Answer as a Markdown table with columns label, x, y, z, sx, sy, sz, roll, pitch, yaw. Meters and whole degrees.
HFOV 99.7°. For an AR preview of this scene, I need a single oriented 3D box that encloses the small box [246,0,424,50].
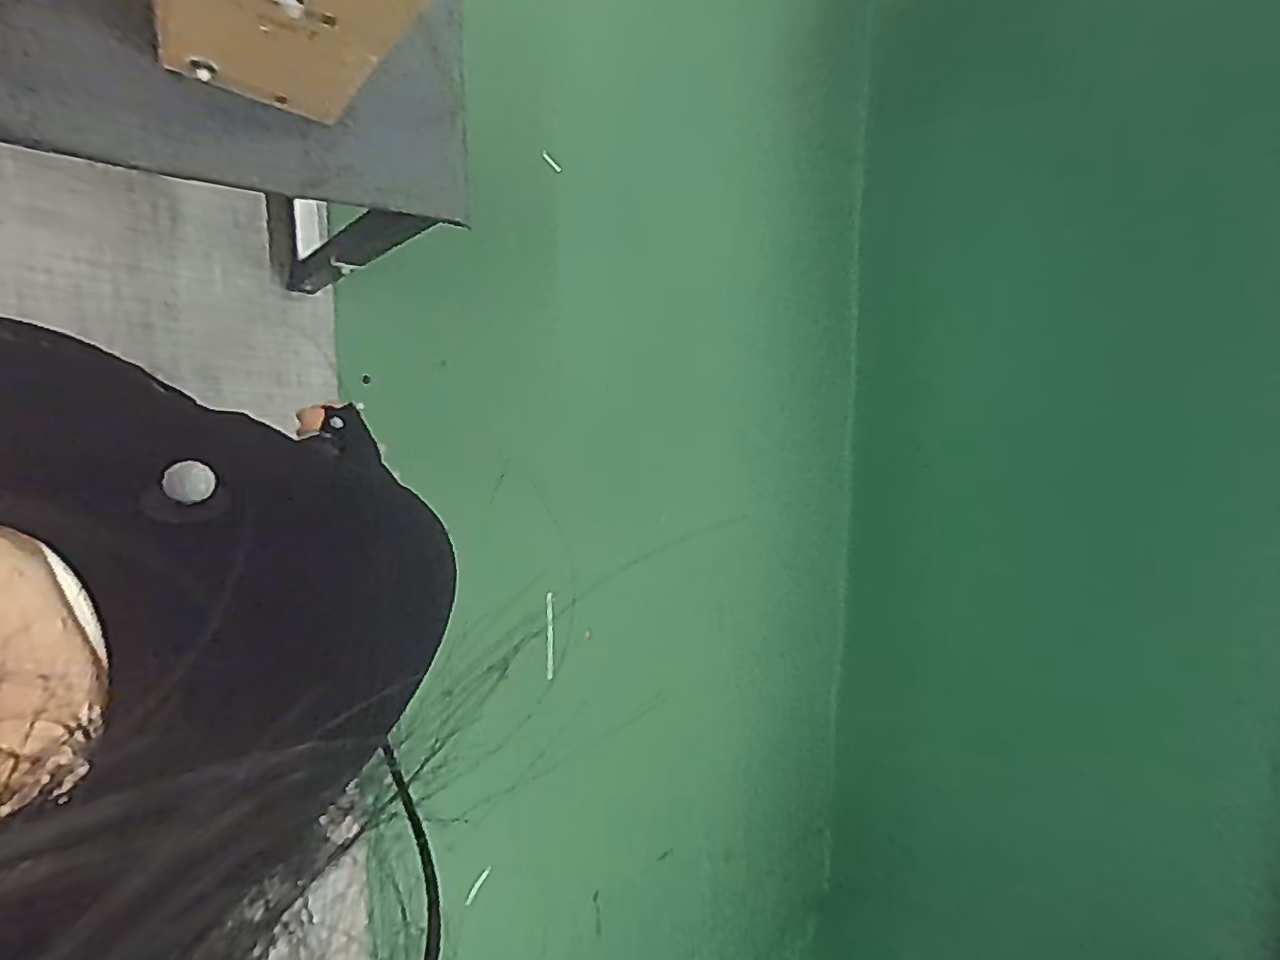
| label | x | y | z | sx | sy | sz | roll | pitch | yaw |
| --- | --- | --- | --- | --- | --- | --- | --- | --- | --- |
| small box | -0.273 | -0.515 | 0.443 | 0.168 | 0.176 | 0.179 | -12 | 102 | -43 |

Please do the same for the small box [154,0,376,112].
| label | x | y | z | sx | sy | sz | roll | pitch | yaw |
| --- | --- | --- | --- | --- | --- | --- | --- | --- | --- |
| small box | -0.388 | -0.526 | 0.557 | 0.168 | 0.176 | 0.179 | -7 | 96 | -45 |
